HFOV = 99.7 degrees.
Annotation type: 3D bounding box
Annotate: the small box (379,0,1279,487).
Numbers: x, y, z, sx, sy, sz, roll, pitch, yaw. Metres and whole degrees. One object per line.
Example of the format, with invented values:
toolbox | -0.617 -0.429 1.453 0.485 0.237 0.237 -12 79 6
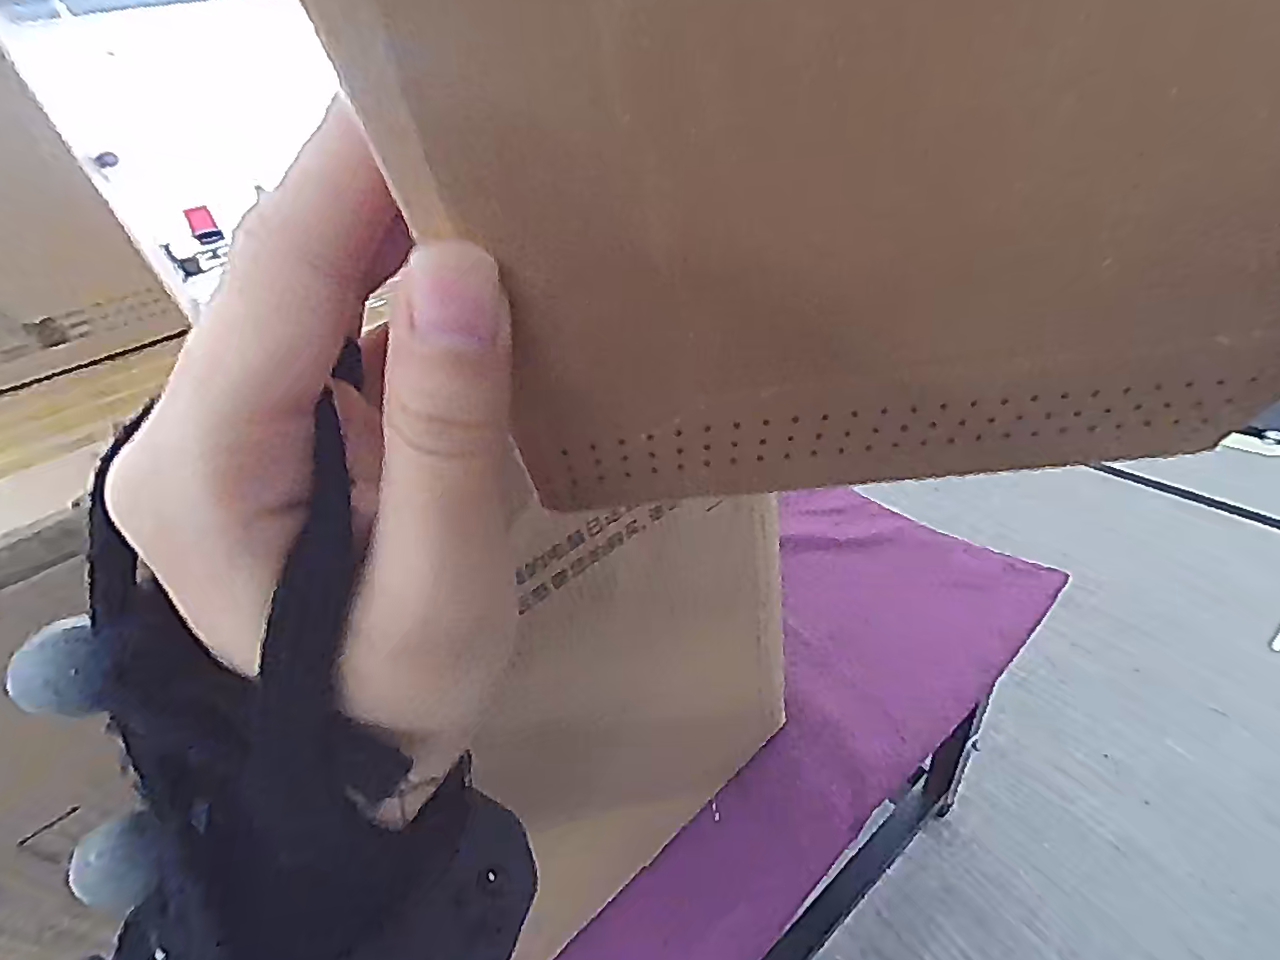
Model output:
small box | 0.048 -0.110 0.119 0.179 0.176 0.168 -5 58 1
